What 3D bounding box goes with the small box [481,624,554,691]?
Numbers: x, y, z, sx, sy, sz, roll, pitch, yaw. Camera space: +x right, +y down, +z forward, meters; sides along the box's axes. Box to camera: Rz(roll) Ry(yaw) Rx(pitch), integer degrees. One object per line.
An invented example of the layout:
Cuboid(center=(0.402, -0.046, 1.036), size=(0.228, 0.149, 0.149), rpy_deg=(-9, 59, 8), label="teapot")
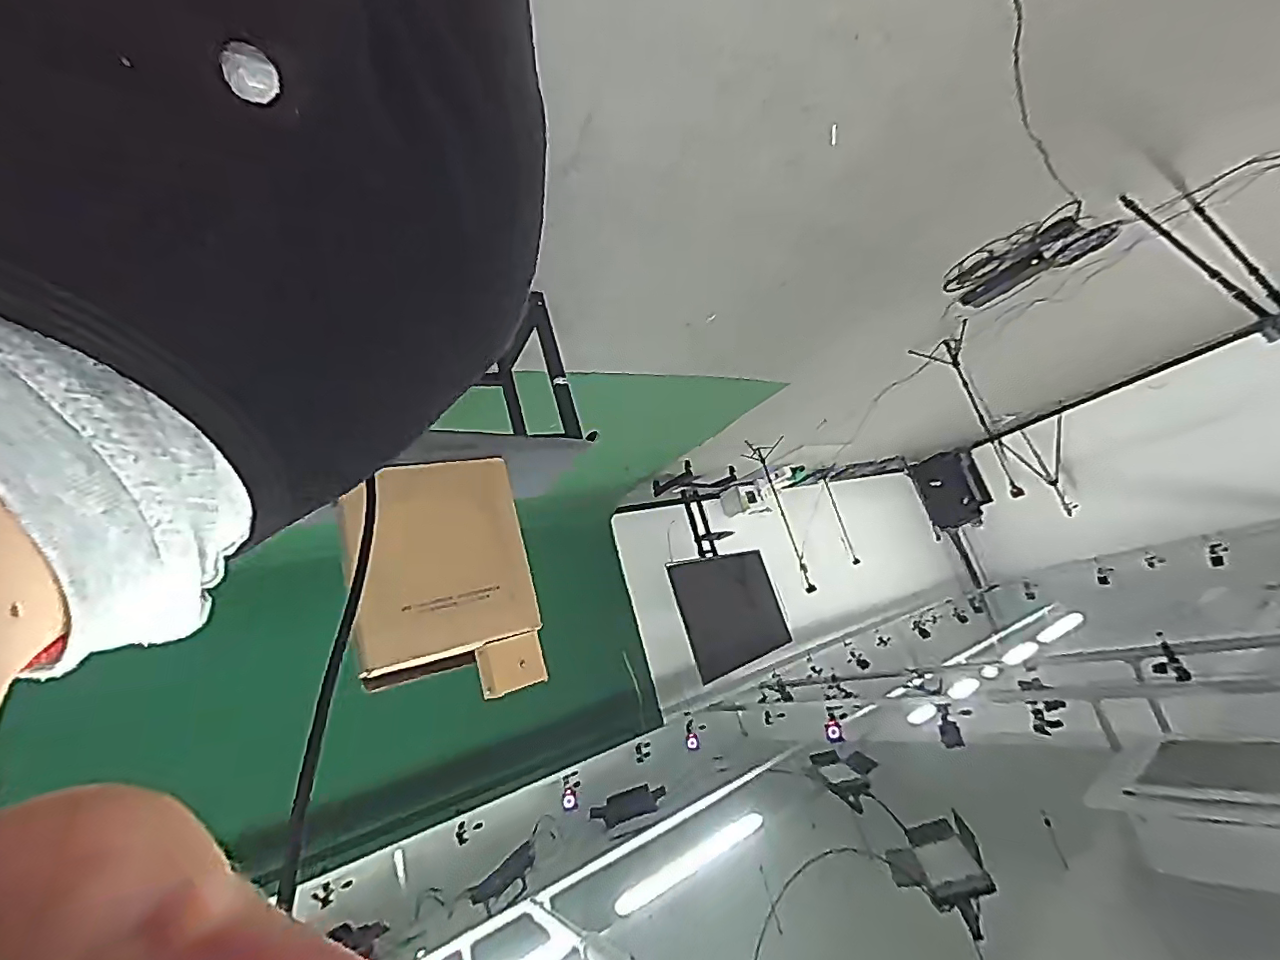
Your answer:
Cuboid(center=(-0.420, 0.598, 1.830), size=(0.179, 0.176, 0.168), rpy_deg=(-11, 164, -33), label="small box")
